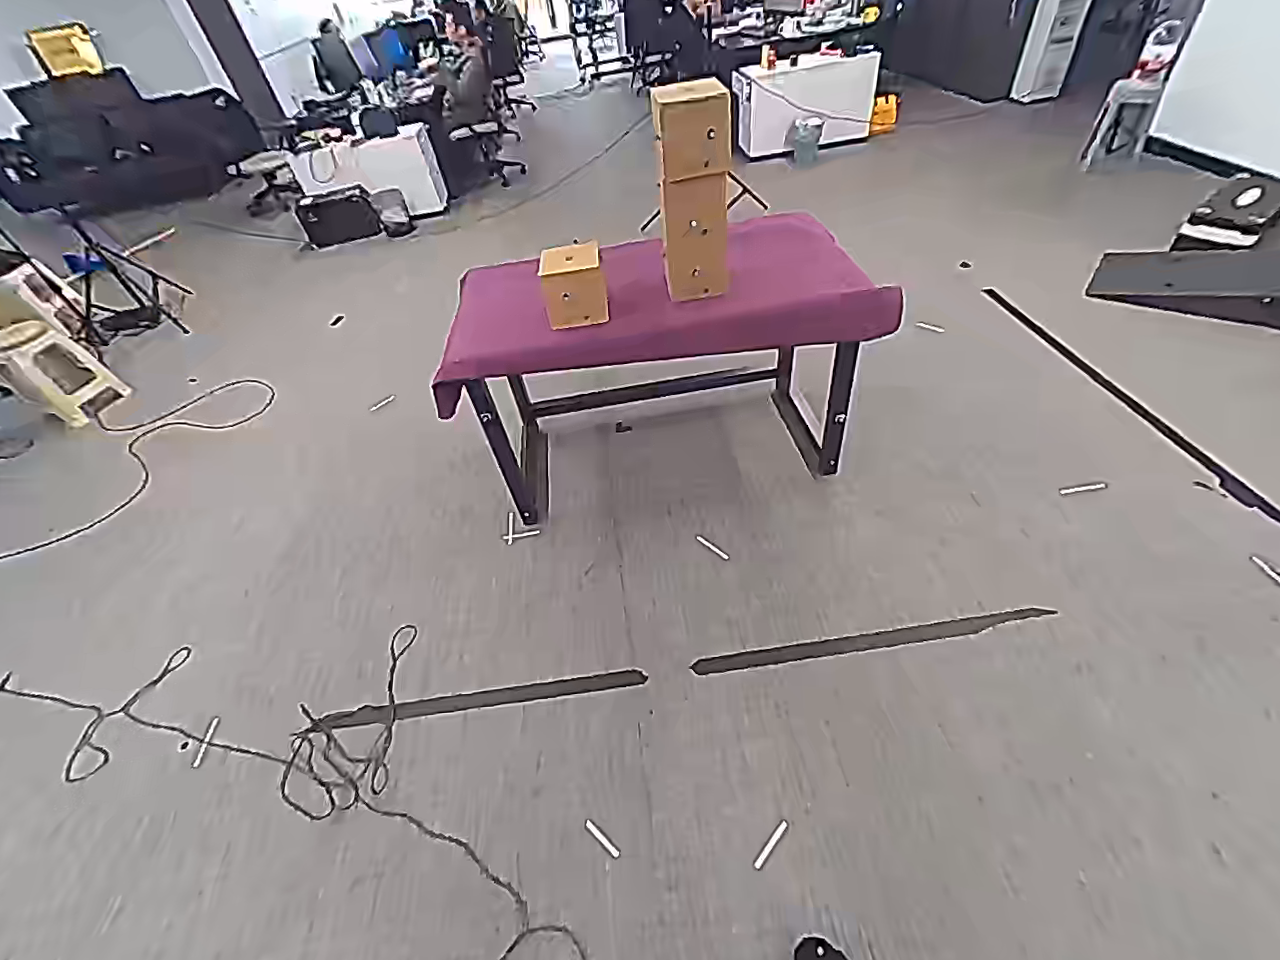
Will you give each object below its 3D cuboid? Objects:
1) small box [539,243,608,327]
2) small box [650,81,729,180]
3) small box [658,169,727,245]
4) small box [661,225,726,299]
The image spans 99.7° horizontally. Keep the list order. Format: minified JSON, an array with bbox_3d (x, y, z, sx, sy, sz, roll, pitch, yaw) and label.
[{"bbox_3d":[-0.186,-0.551,1.548,0.168,0.176,0.179,-8,44,1],"label":"small box"},{"bbox_3d":[0.124,-0.856,1.333,0.168,0.176,0.179,-9,45,0],"label":"small box"},{"bbox_3d":[0.139,-0.759,1.464,0.168,0.176,0.179,-8,46,3],"label":"small box"},{"bbox_3d":[0.156,-0.641,1.578,0.168,0.176,0.179,-7,45,2],"label":"small box"}]
